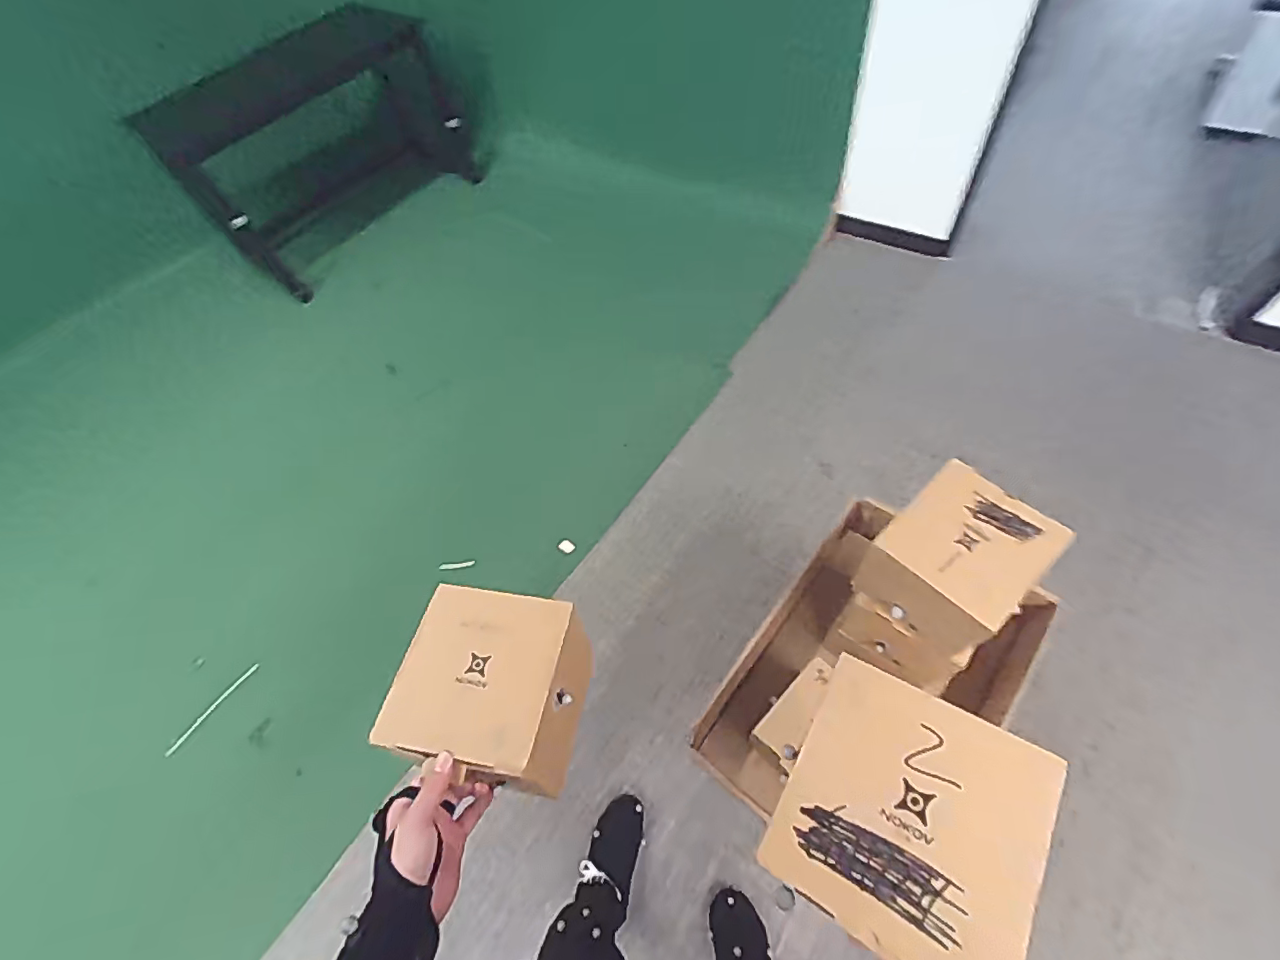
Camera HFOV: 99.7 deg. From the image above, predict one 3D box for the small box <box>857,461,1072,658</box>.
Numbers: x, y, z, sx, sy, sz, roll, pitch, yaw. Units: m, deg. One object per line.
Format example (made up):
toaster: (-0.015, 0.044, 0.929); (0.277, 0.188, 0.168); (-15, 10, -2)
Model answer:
small box: (0.426, 0.113, 0.745); (0.179, 0.176, 0.168); (-41, 61, -13)

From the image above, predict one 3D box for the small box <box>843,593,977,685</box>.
small box: (0.453, 0.202, 0.881); (0.168, 0.176, 0.179); (32, 70, 25)

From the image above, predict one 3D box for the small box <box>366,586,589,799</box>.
small box: (-0.165, 0.247, 0.621); (0.168, 0.176, 0.179); (6, 52, 11)

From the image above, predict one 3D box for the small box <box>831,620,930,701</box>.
small box: (0.480, 0.284, 1.018); (0.168, 0.176, 0.179); (32, 70, 26)
